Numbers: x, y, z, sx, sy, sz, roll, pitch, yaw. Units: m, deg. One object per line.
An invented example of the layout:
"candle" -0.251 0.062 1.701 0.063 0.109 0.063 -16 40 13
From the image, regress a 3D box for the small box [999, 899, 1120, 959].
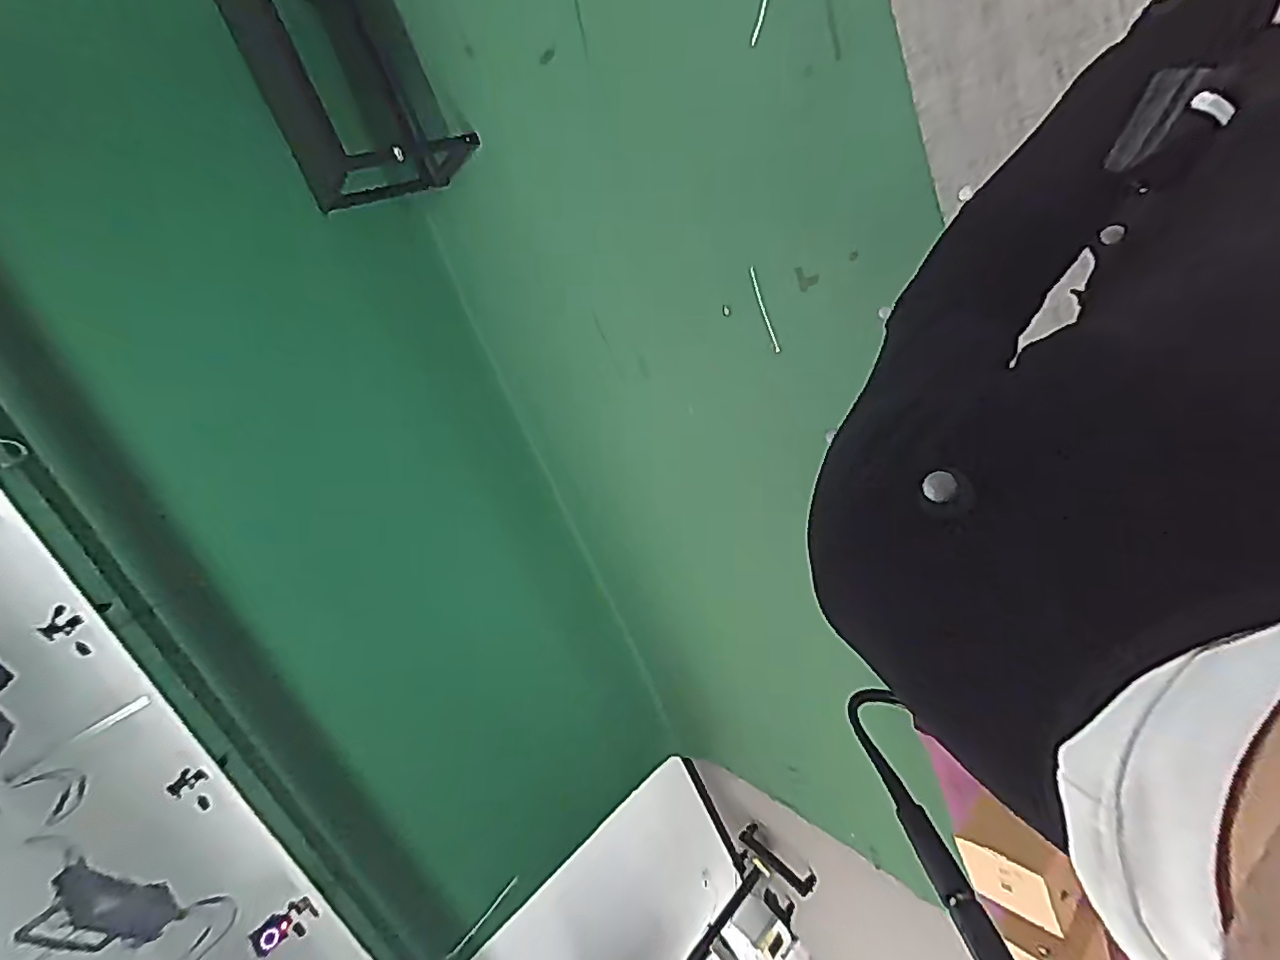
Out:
"small box" 0.953 1.054 1.224 0.168 0.176 0.179 -1 117 56

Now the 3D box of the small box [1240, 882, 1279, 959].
"small box" 1.048 0.776 0.816 0.168 0.176 0.179 0 119 56

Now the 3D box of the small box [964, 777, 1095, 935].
"small box" 0.827 0.782 1.145 0.168 0.176 0.179 -5 114 56
